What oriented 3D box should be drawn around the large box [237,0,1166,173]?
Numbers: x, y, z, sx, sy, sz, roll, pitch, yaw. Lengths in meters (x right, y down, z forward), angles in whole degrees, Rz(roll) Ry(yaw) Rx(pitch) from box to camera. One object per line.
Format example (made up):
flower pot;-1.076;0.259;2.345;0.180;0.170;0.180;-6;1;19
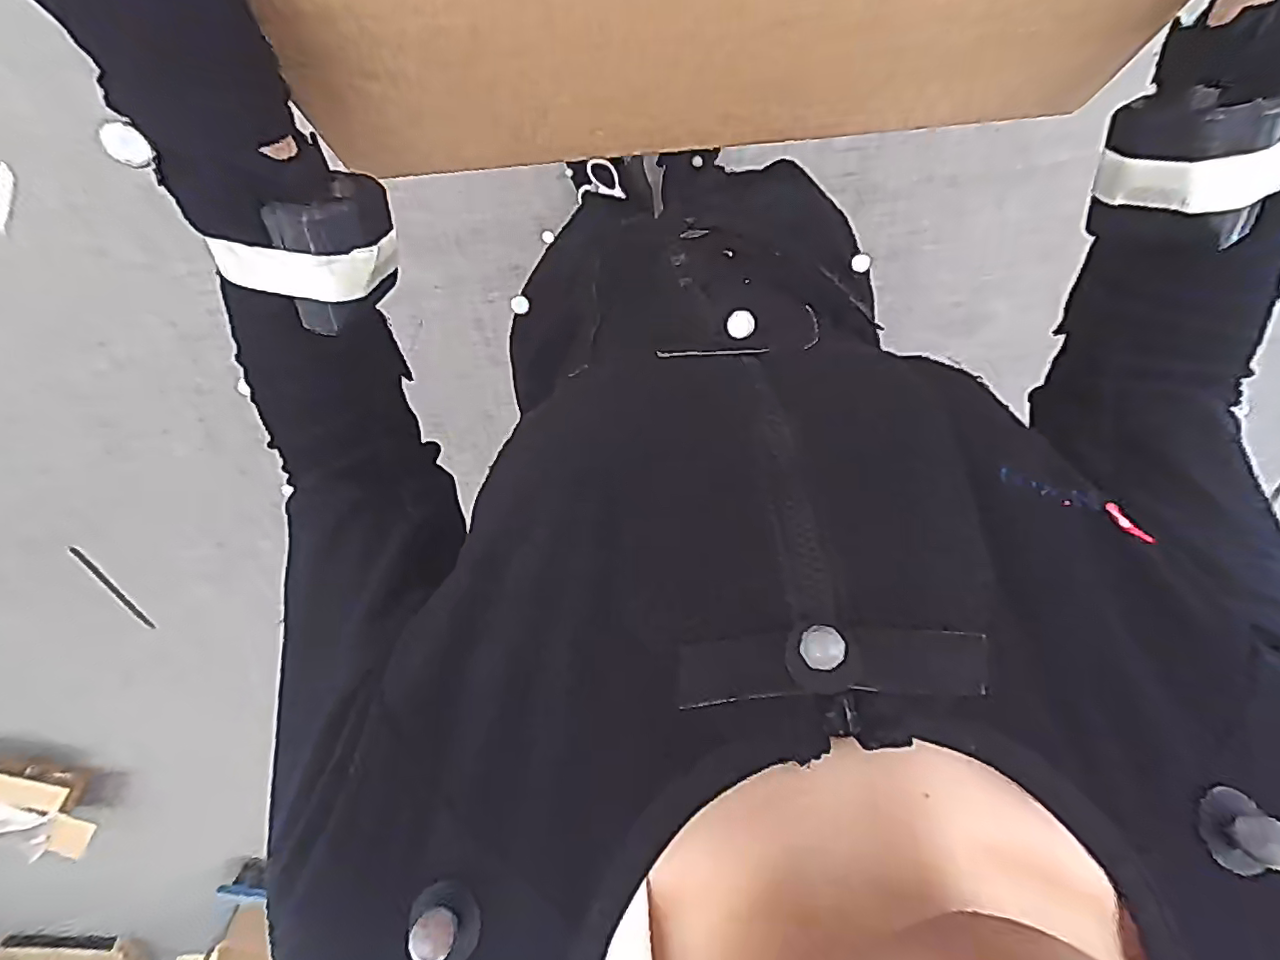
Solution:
large box;0.023;-0.361;0.178;0.408;0.320;0.320;-5;84;1
